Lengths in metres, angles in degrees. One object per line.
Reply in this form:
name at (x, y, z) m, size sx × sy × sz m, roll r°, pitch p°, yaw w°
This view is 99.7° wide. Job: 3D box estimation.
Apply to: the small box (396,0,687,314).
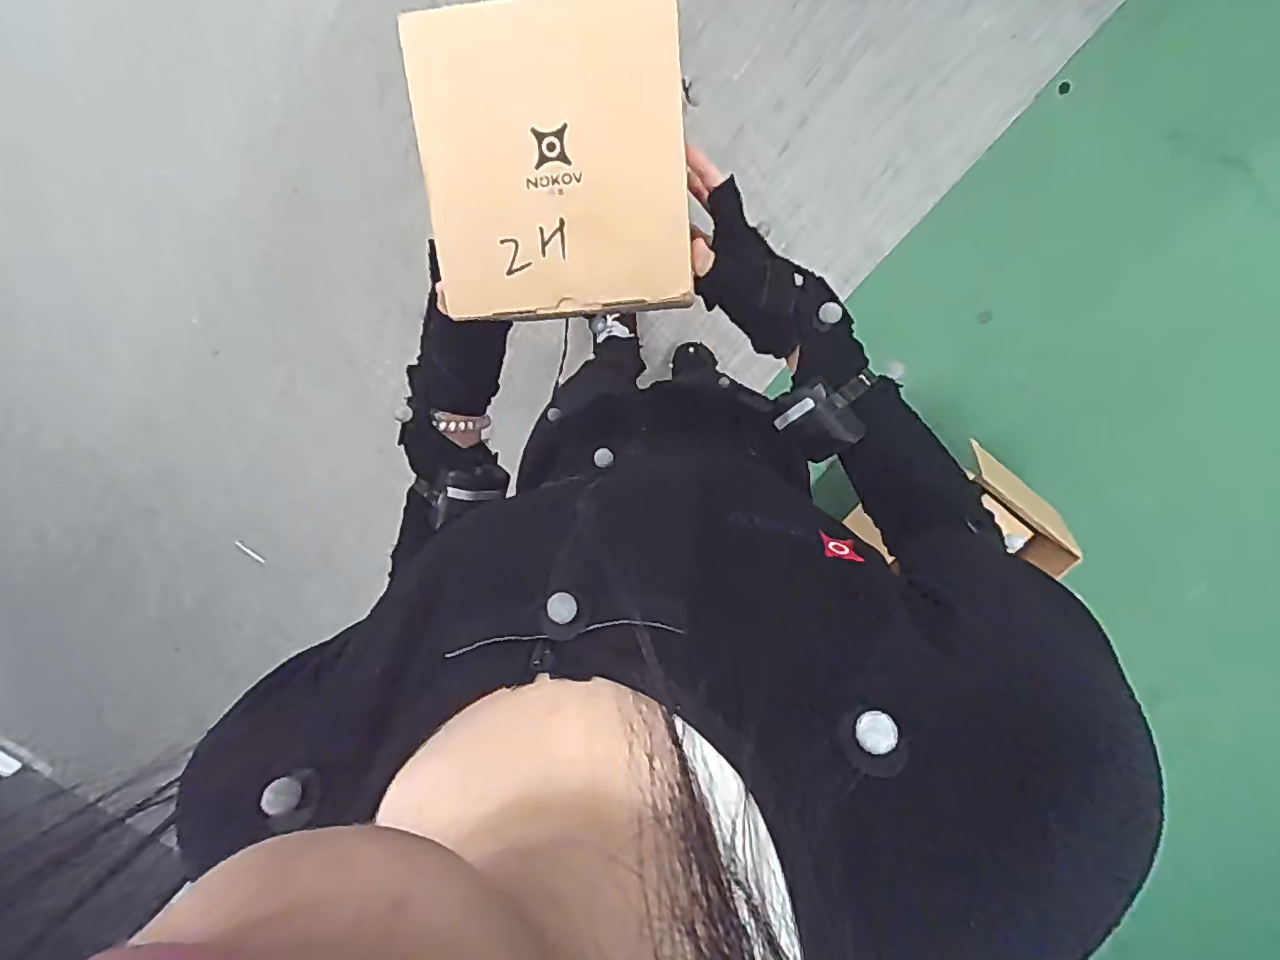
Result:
small box at (-0.051, -0.221, 0.405) m, size 0.168 × 0.176 × 0.179 m, roll -2°, pitch 107°, yaw 6°
